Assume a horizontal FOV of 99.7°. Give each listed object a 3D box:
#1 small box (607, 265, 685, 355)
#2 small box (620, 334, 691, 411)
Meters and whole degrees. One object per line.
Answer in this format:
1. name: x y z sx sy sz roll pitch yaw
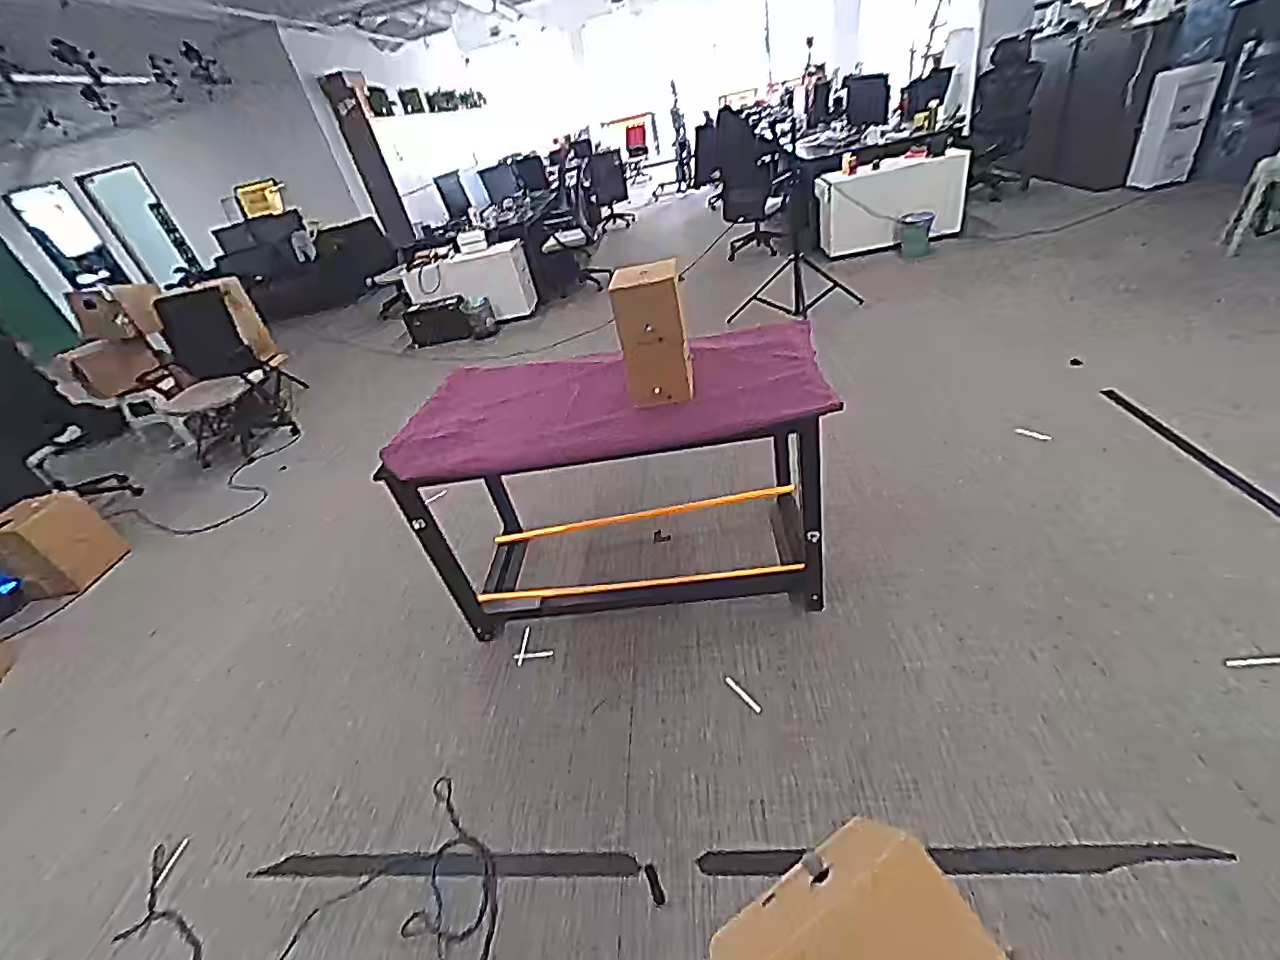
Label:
1. small box: 0.022 -0.446 1.419 0.168 0.176 0.179 -8 35 11
2. small box: 0.050 -0.312 1.512 0.168 0.176 0.179 -7 35 10
